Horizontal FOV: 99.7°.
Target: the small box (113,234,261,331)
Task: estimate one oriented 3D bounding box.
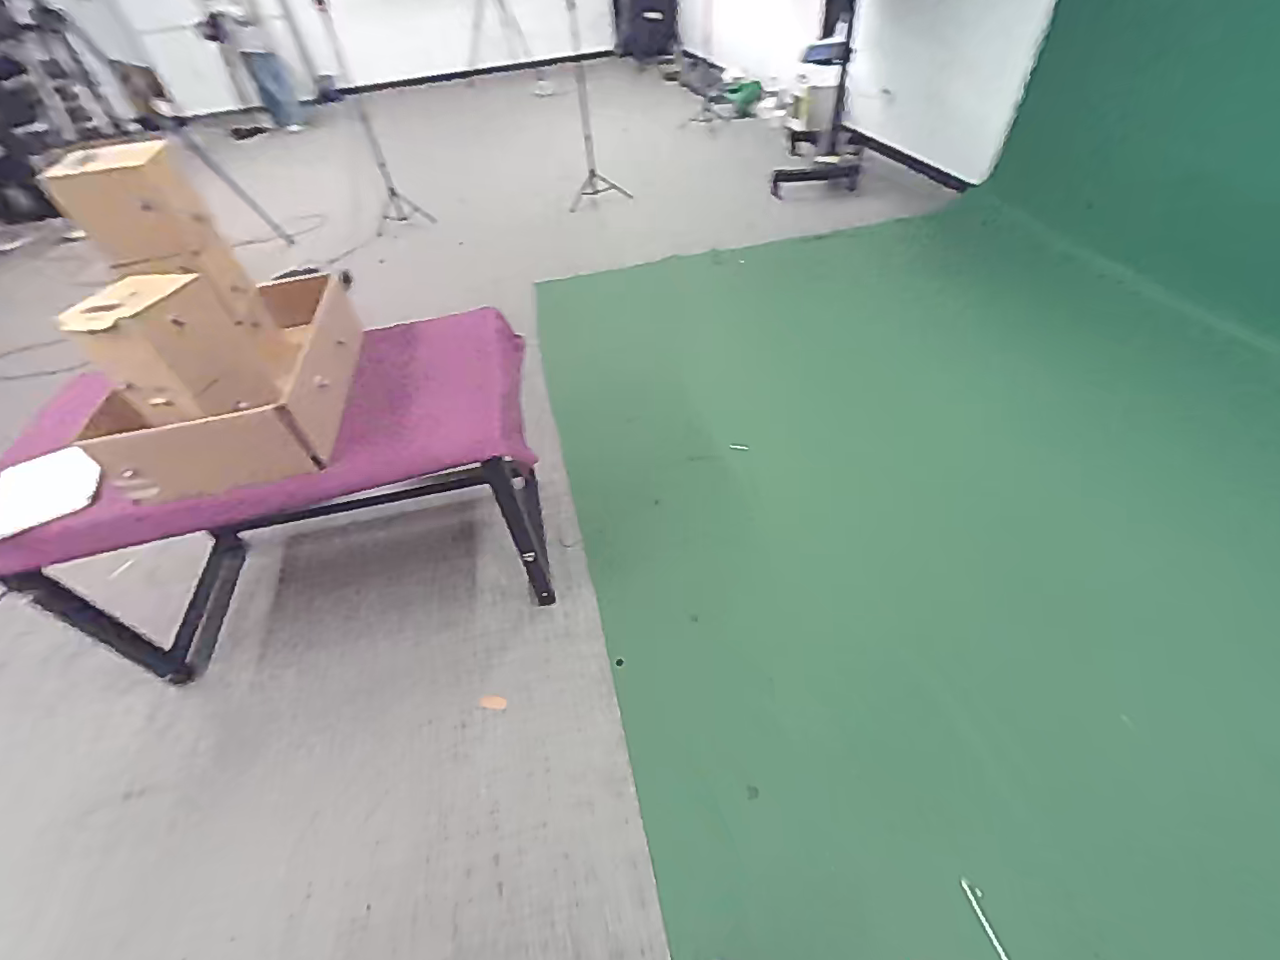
[{"bbox_3d":[-1.027,-0.439,1.245,0.179,0.176,0.168,-13,47,-7],"label":"small box"}]

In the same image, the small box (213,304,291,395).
[{"bbox_3d":[-1.021,-0.329,1.364,0.168,0.176,0.179,-11,47,-5],"label":"small box"}]

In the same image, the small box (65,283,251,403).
[{"bbox_3d":[-0.917,-0.263,1.052,0.168,0.176,0.179,2,44,11],"label":"small box"}]
